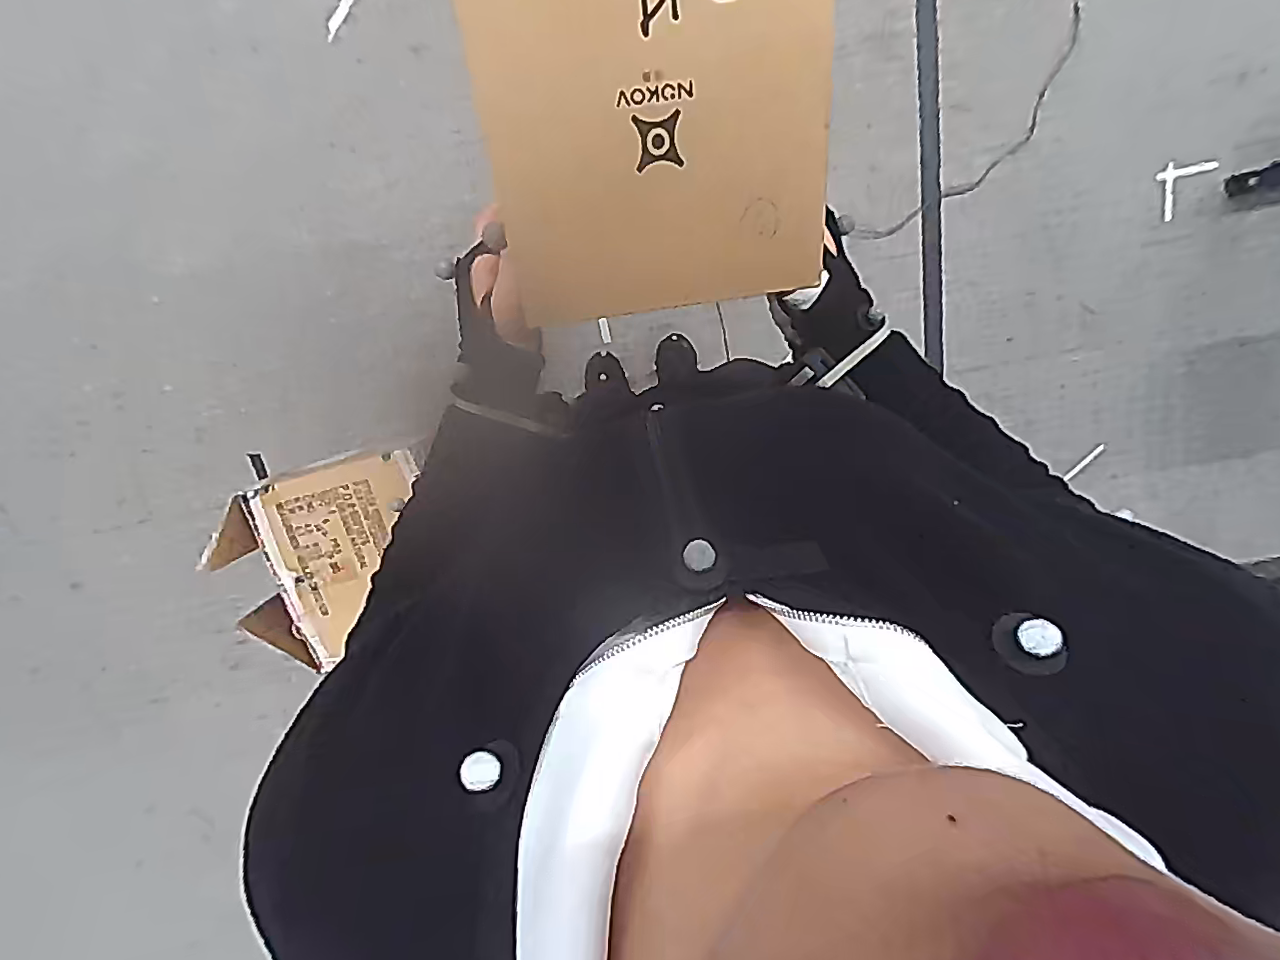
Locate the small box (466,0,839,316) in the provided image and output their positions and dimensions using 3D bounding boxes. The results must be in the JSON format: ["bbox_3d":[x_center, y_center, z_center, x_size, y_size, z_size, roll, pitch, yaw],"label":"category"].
[{"bbox_3d":[0.004,-0.214,0.326,0.168,0.176,0.179,-9,119,-2],"label":"small box"}]
